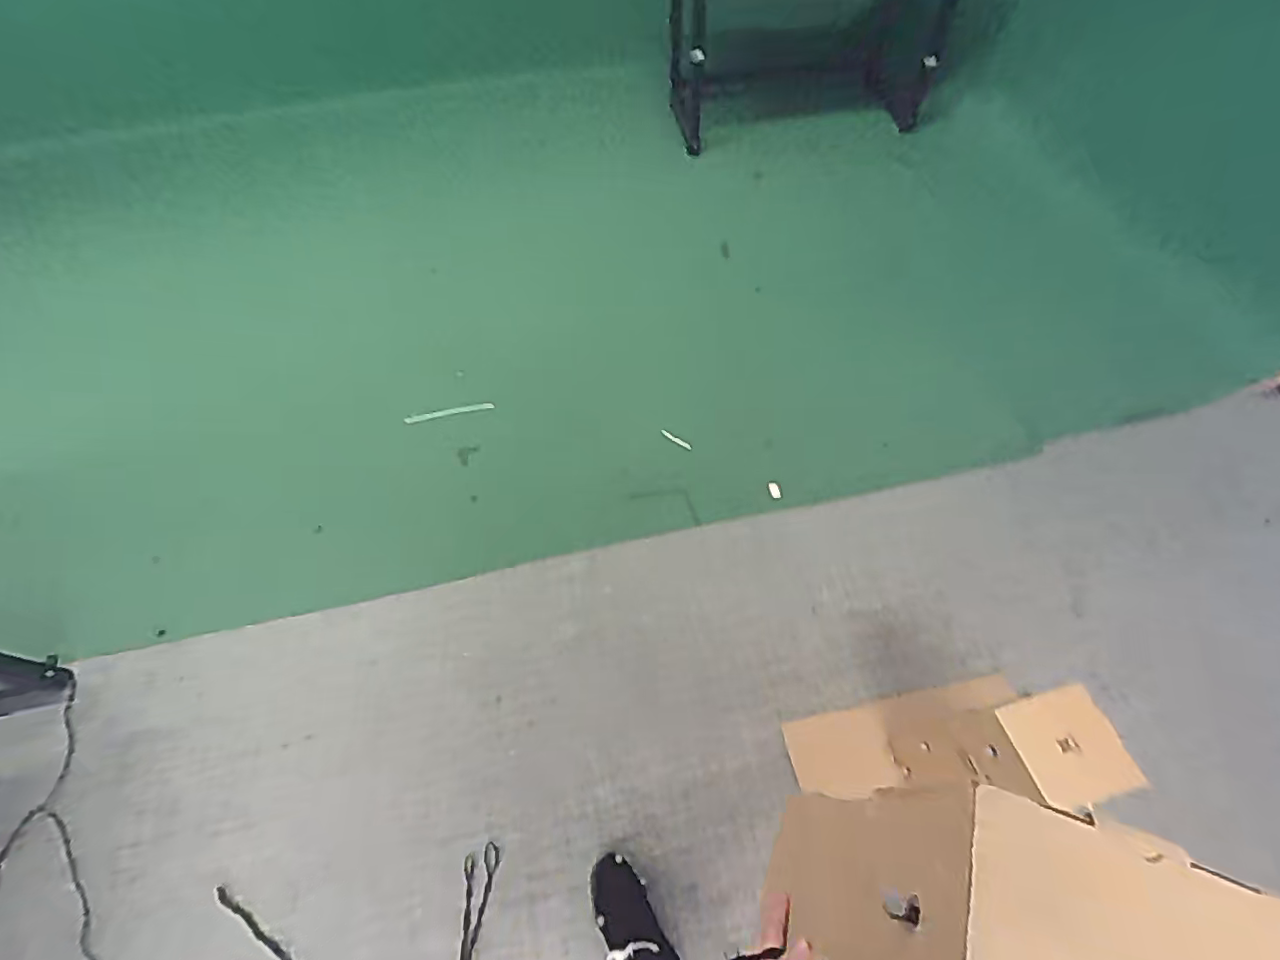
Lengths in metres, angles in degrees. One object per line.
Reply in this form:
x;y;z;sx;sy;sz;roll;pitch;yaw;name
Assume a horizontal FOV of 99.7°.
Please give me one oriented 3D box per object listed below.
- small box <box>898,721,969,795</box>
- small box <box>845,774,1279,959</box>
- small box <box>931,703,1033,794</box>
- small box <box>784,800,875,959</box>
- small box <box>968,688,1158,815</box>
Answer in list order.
0.731;0.660;1.231;0.179;0.176;0.168;-17;59;-8;small box
0.219;0.289;0.293;0.168;0.176;0.179;17;60;13;small box
0.725;0.573;1.093;0.179;0.176;0.168;-14;58;-7;small box
0.221;0.383;0.428;0.168;0.176;0.179;19;61;13;small box
0.720;0.490;0.954;0.179;0.176;0.168;-14;58;-7;small box
